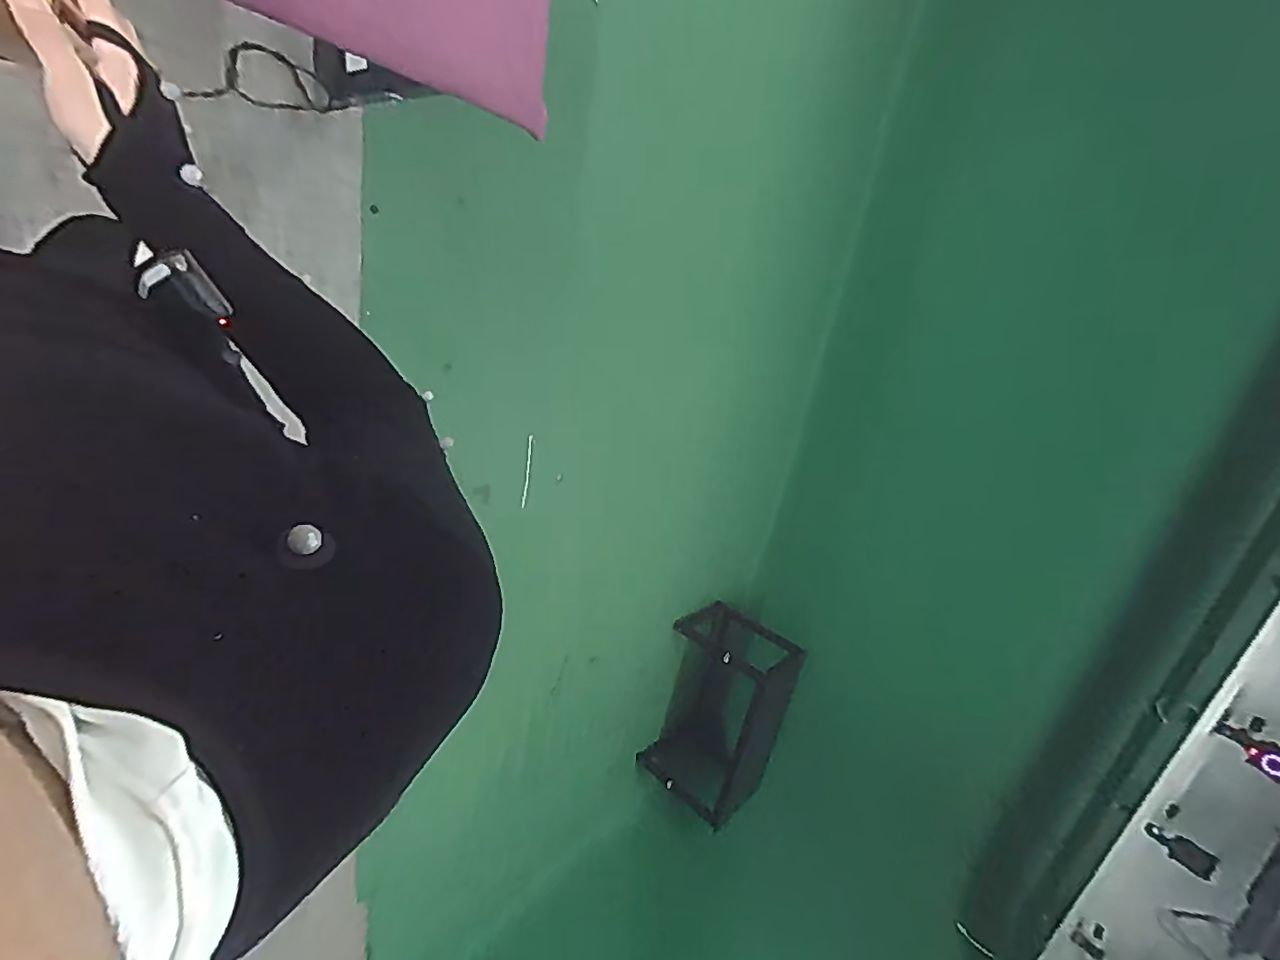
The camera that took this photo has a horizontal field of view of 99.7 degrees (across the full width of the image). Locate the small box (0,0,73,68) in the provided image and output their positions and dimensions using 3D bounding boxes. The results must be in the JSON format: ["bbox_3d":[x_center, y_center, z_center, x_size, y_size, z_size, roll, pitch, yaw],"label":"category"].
[{"bbox_3d":[-0.505,-0.429,0.364,0.168,0.176,0.179,-1,107,-44],"label":"small box"}]
